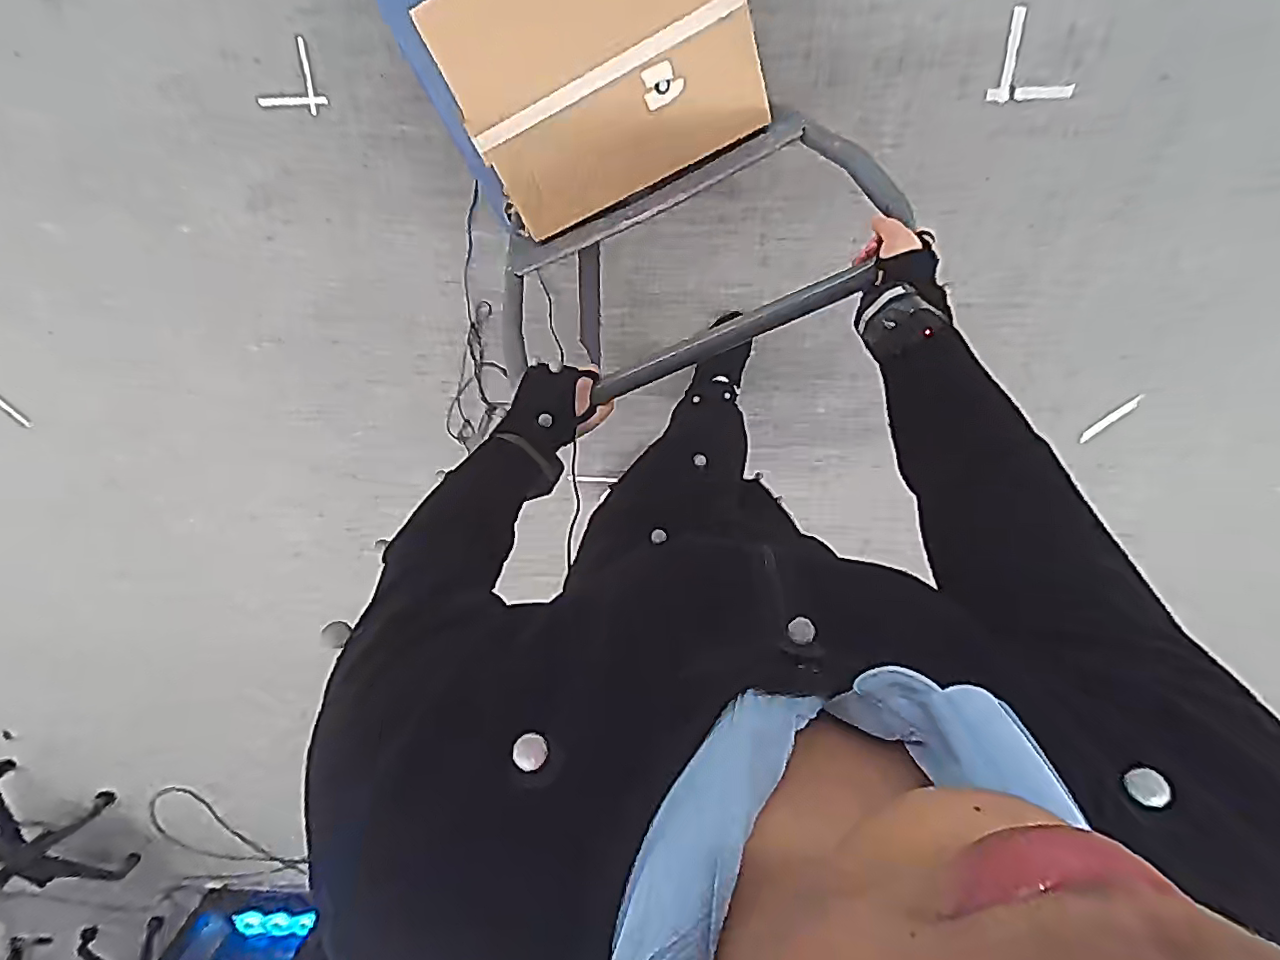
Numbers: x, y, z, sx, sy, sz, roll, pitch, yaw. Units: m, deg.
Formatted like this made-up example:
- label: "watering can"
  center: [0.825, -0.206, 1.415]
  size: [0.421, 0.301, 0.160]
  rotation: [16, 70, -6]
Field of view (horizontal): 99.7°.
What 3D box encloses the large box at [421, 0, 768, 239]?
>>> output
- label: "large box"
  center: [-0.066, -0.662, 0.867]
  size: [0.408, 0.320, 0.320]
  rotation: [-24, 130, 10]
